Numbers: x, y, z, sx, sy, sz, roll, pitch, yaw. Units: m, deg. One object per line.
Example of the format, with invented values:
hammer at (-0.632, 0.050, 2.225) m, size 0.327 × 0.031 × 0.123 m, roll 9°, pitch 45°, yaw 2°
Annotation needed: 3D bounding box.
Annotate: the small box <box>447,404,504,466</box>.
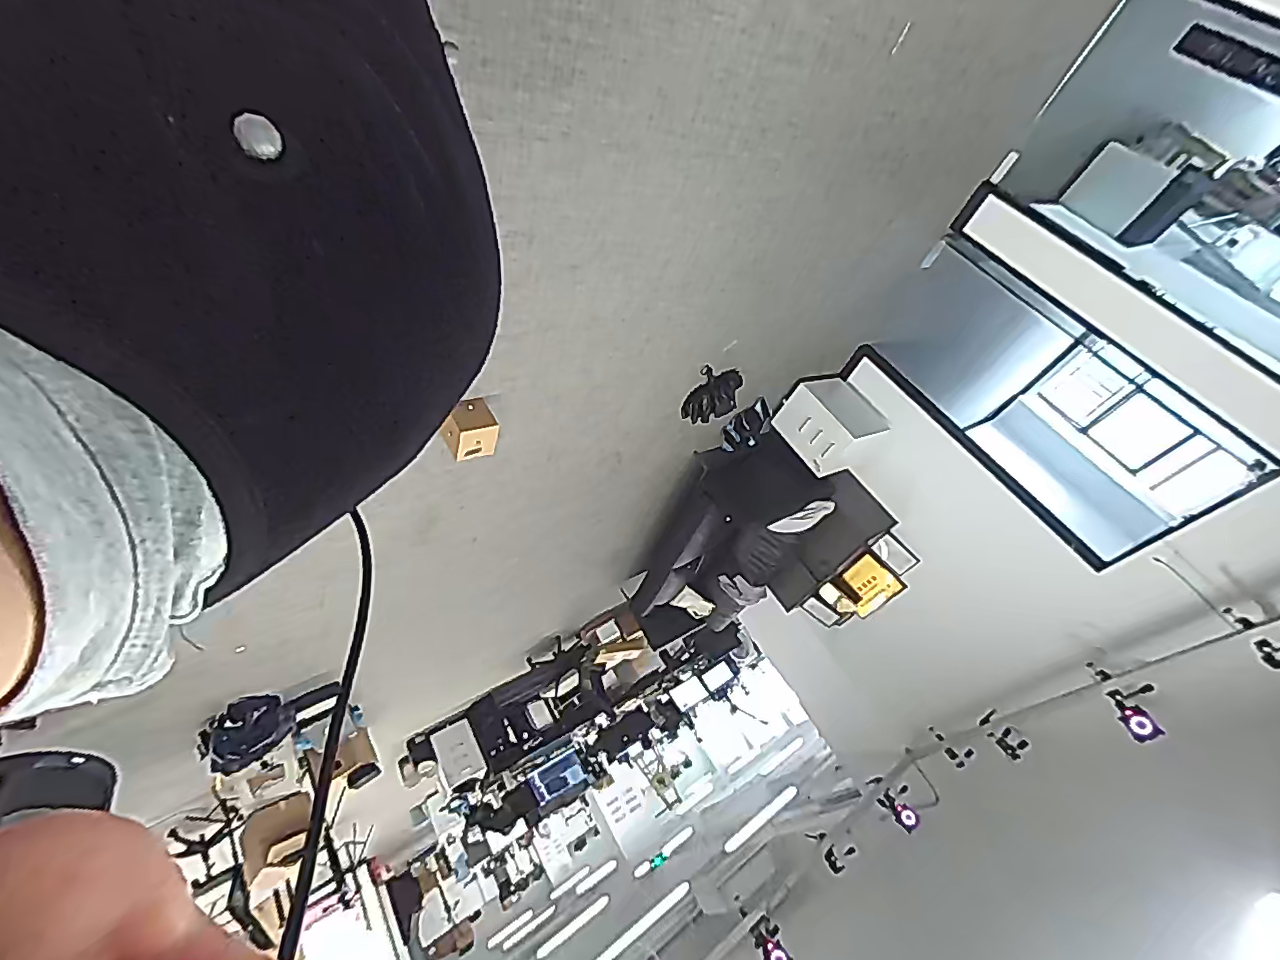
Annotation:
small box at (-0.681, -0.188, 2.226) m, size 0.168 × 0.176 × 0.179 m, roll -17°, pitch 148°, yaw -36°
